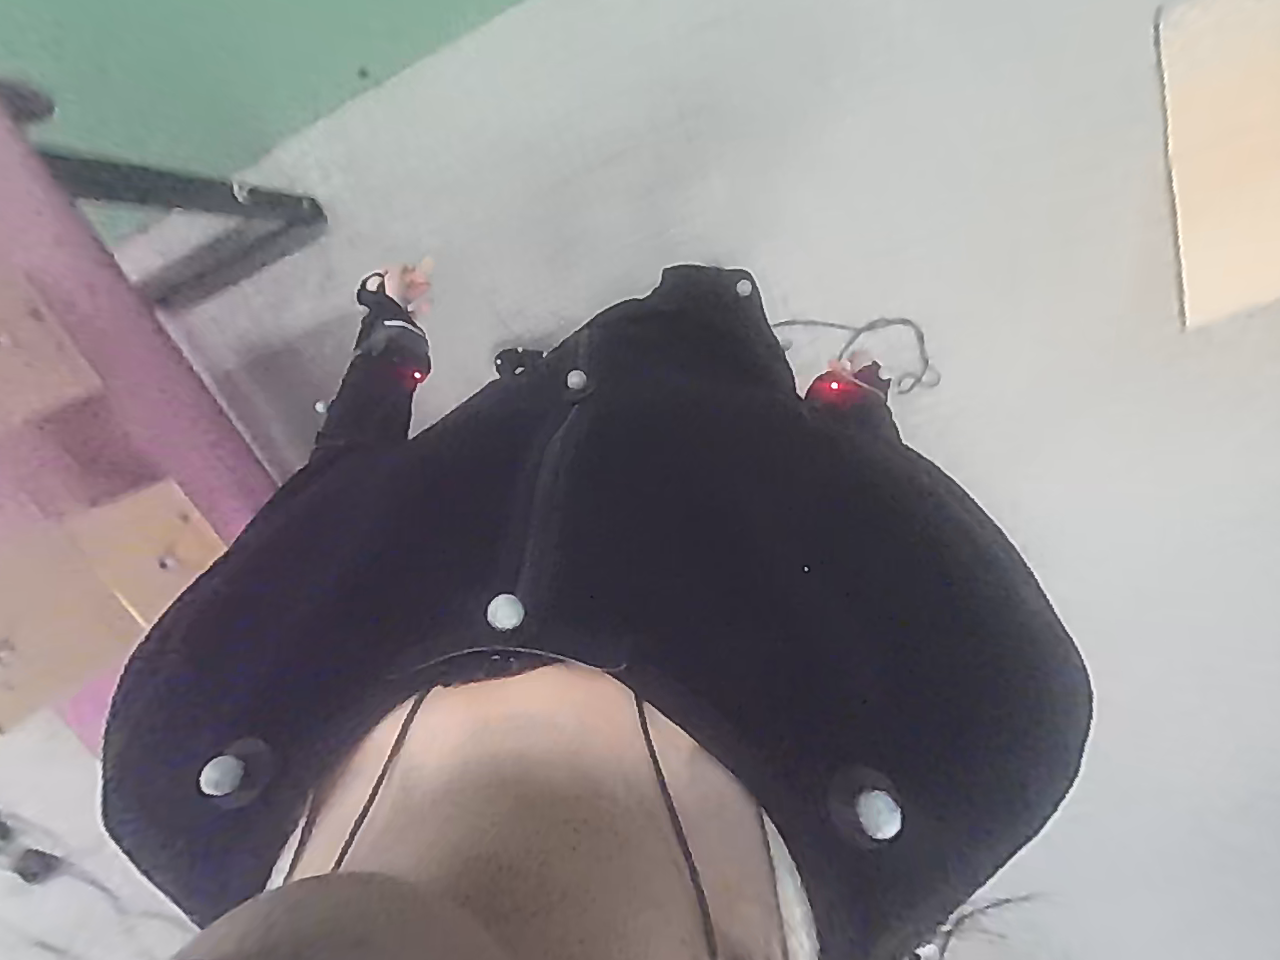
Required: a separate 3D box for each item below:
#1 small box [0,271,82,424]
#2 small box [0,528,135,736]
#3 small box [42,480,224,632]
[{"bbox_3d":[-0.872,-0.151,0.672,0.179,0.176,0.168,-18,109,11],"label":"small box"},{"bbox_3d":[-0.762,0.183,0.624,0.168,0.176,0.179,-18,109,11],"label":"small box"},{"bbox_3d":[-0.753,0.122,0.776,0.179,0.176,0.168,-21,109,13],"label":"small box"}]
